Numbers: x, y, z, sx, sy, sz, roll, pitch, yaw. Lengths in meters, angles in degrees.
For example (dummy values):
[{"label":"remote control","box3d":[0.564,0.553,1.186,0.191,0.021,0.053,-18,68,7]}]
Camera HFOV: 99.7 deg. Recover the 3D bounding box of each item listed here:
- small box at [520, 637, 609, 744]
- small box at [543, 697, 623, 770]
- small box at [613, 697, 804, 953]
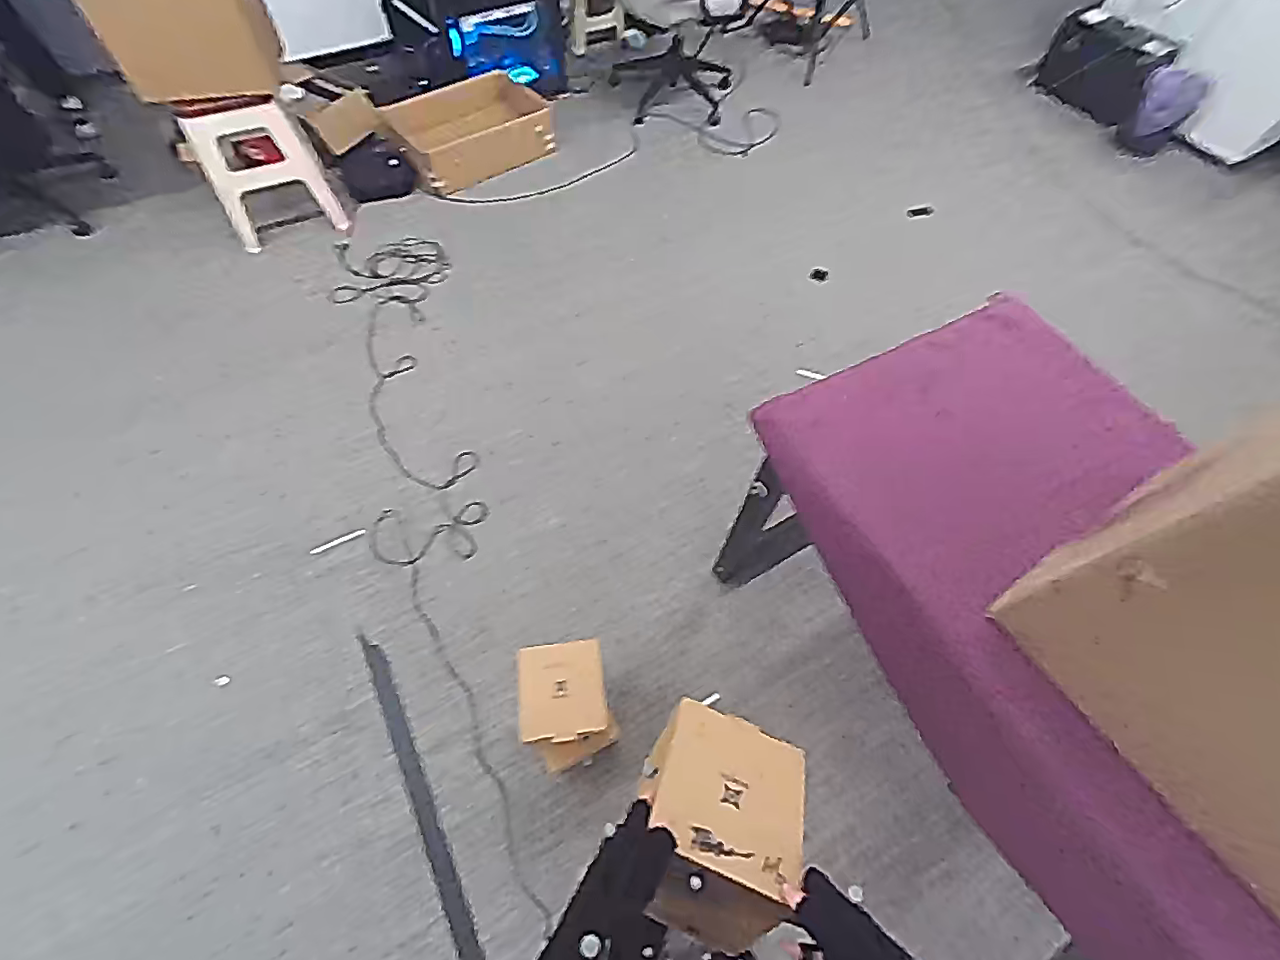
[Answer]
[{"label":"small box","box3d":[-0.153,0.440,1.120,0.168,0.176,0.179,-5,60,-7]},{"label":"small box","box3d":[-0.151,0.546,1.248,0.168,0.176,0.179,-24,65,-15]},{"label":"small box","box3d":[0.081,0.408,0.647,0.168,0.176,0.179,23,34,4]}]
